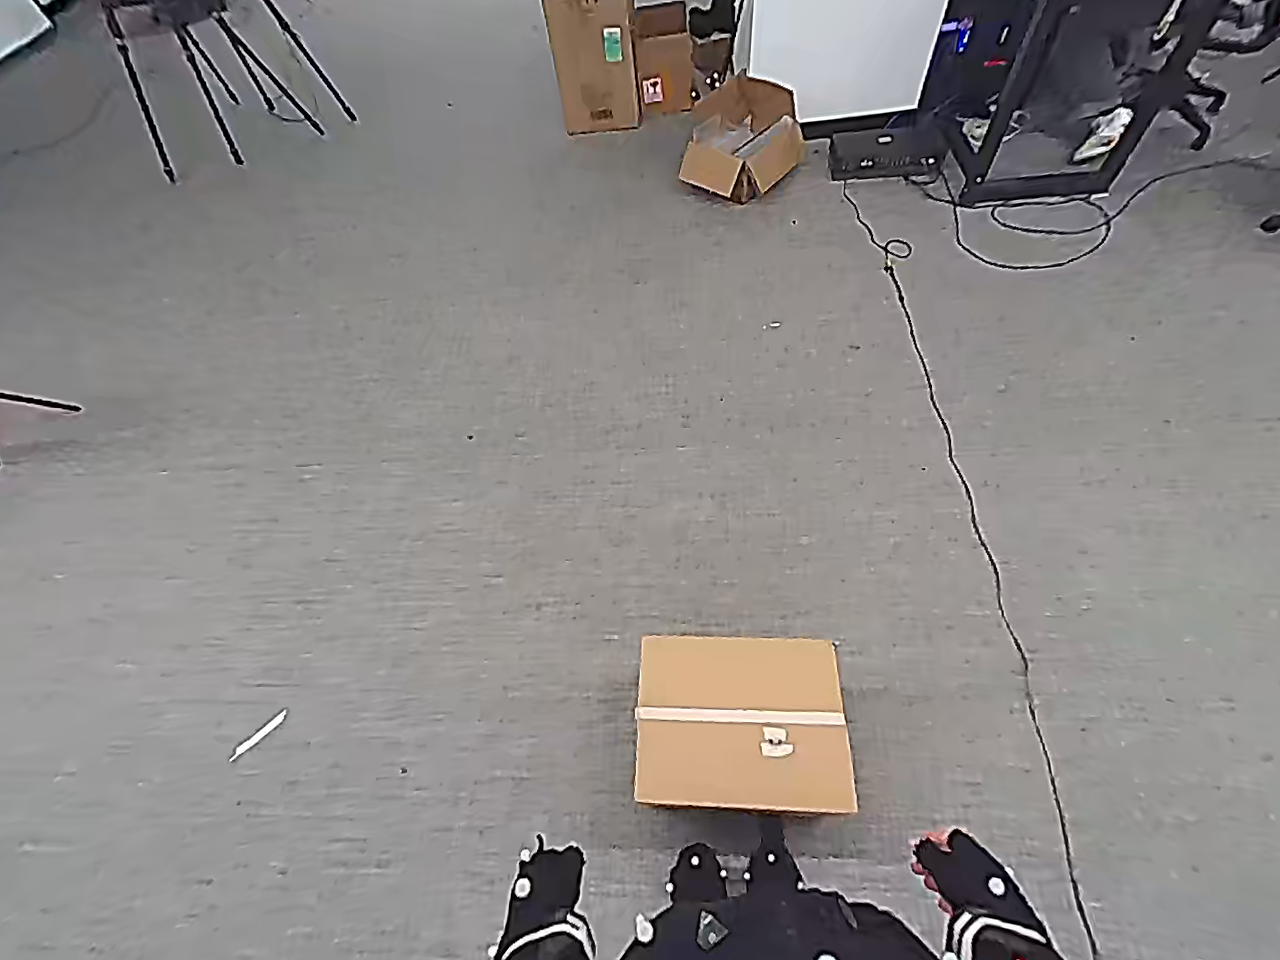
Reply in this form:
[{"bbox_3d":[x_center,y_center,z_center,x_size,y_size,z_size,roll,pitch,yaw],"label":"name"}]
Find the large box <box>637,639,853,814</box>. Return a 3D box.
[{"bbox_3d":[0.206,0.554,1.200,0.408,0.320,0.320,-1,58,5],"label":"large box"}]
